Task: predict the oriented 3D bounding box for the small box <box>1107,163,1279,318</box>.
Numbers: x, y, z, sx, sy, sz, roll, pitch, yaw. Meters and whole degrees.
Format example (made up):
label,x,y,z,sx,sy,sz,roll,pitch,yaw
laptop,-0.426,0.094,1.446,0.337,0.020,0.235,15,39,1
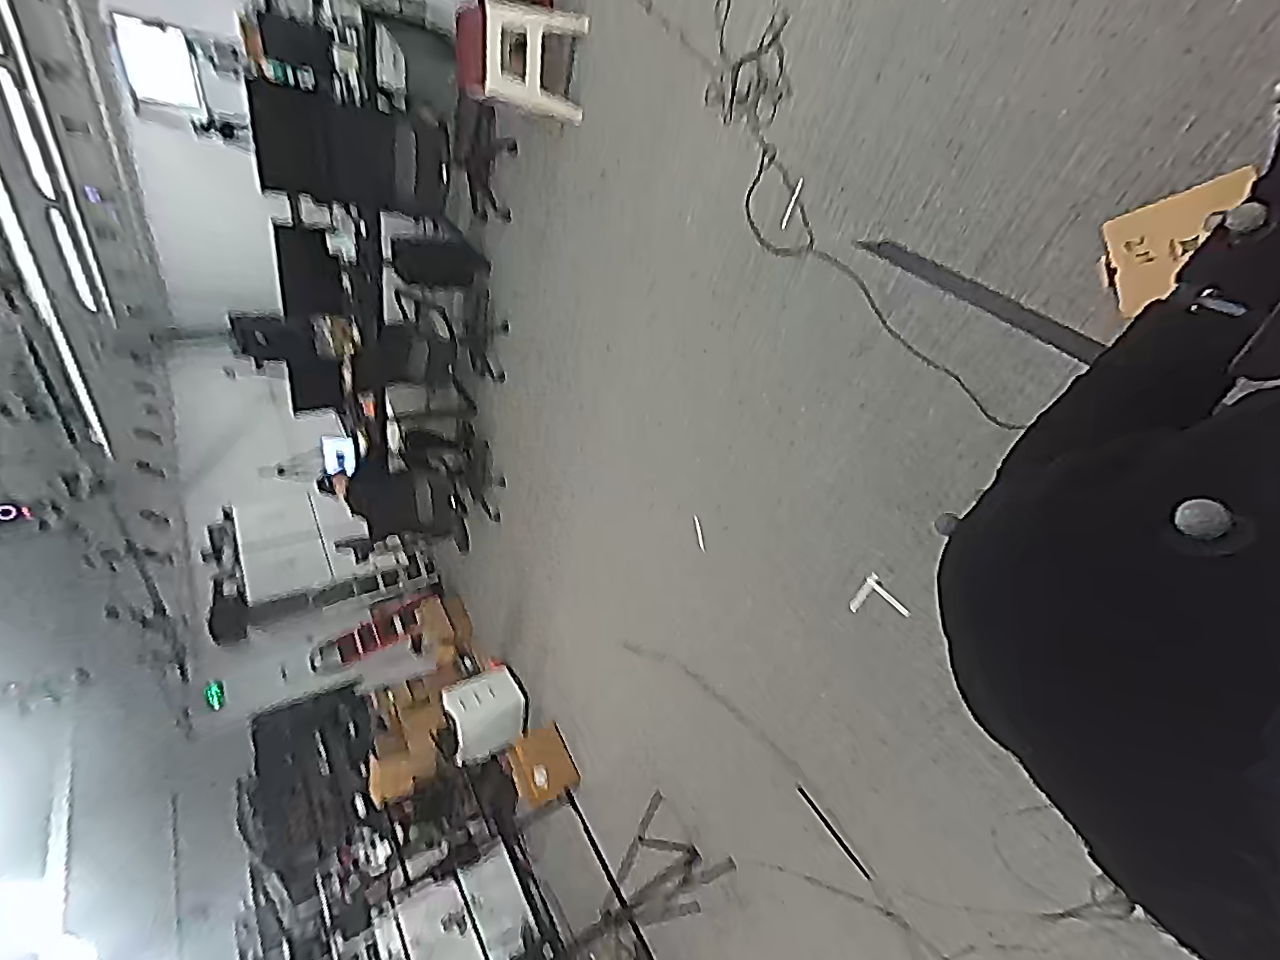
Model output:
label,x,y,z,sx,sy,sz,roll,pitch,yaw
small box,0.902,-0.373,0.872,0.179,0.176,0.168,-13,90,55
